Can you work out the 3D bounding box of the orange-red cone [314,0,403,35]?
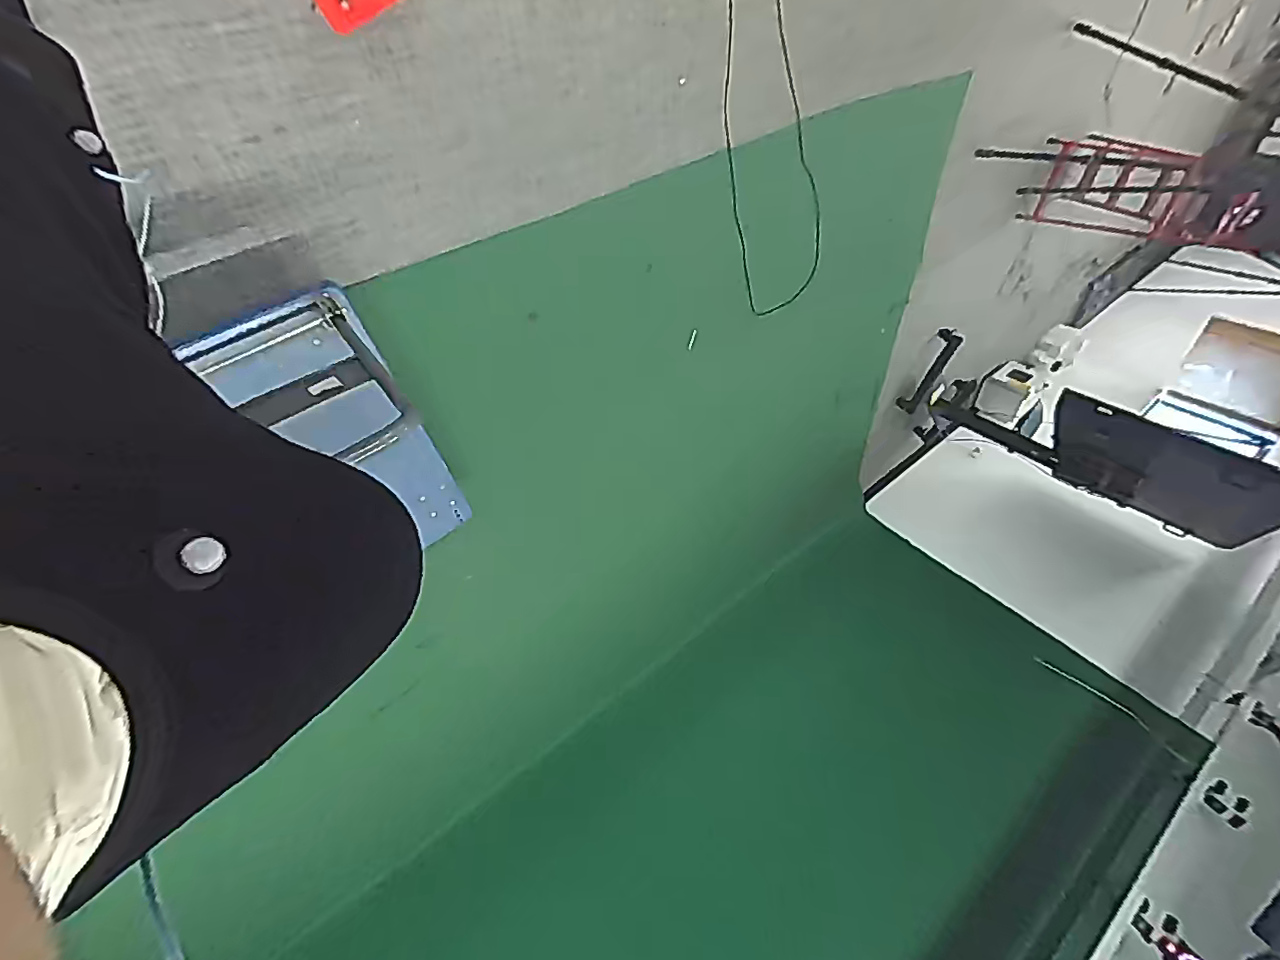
[{"bbox_3d":[-0.493,-0.964,0.991,0.199,0.360,0.198,-43,144,-11],"label":"orange-red cone"}]
